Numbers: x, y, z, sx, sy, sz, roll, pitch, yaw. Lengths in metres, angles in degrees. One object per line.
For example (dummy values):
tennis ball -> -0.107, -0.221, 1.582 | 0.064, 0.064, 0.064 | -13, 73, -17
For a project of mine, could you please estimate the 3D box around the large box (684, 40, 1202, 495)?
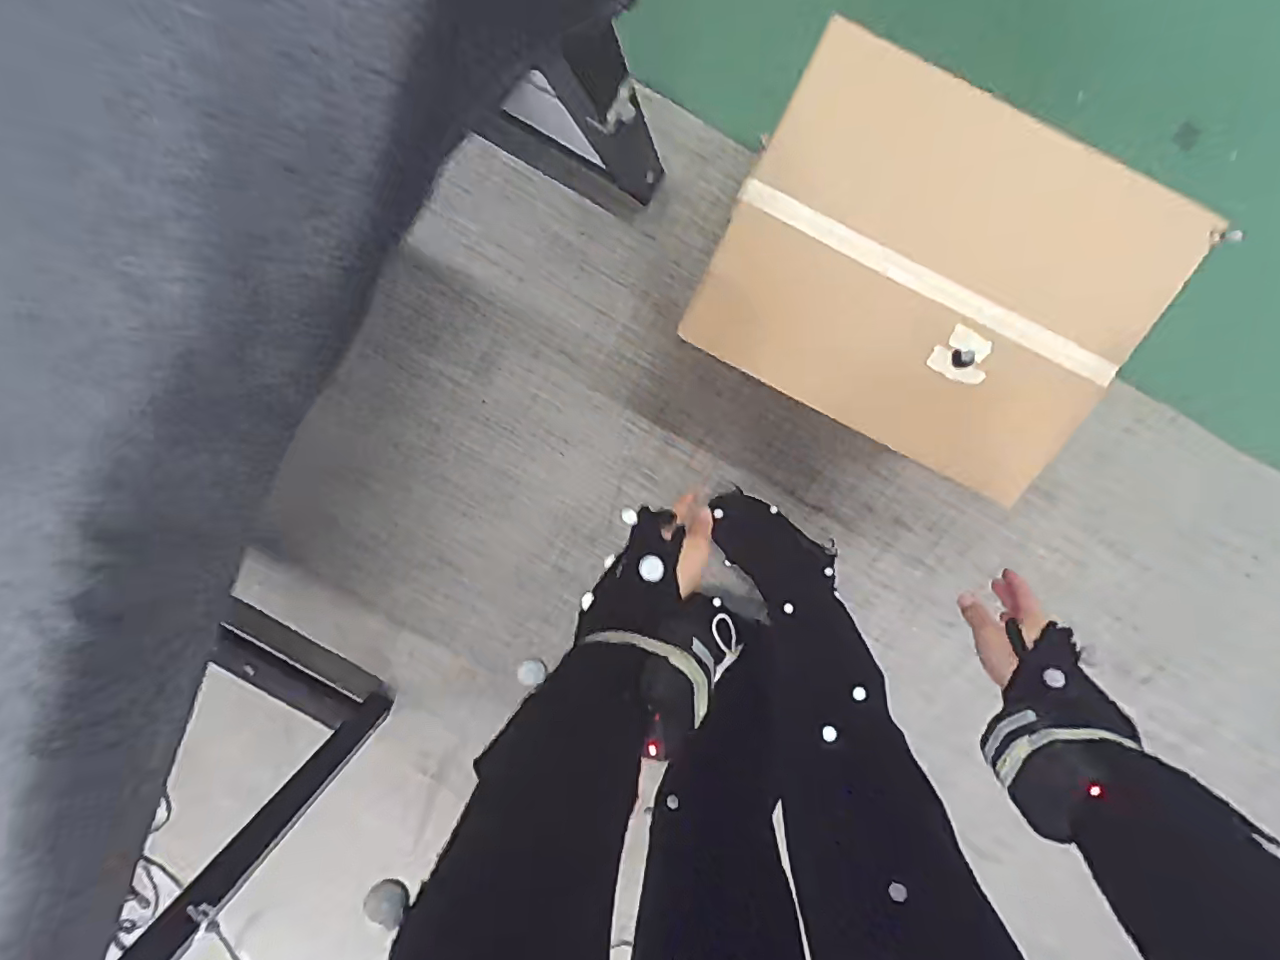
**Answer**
large box -> 0.302, -0.234, 0.688 | 0.408, 0.320, 0.320 | 27, 107, 0
